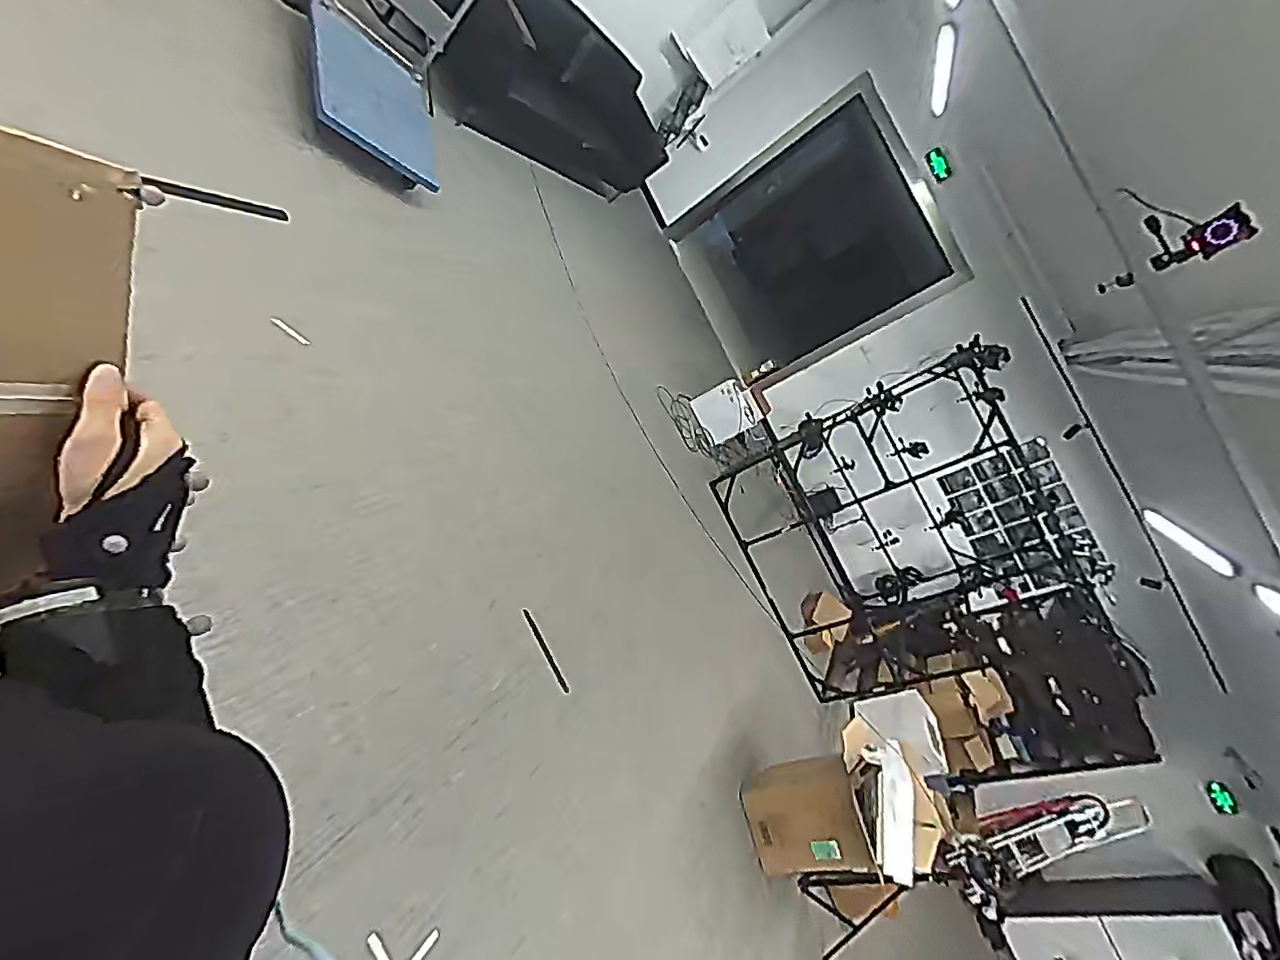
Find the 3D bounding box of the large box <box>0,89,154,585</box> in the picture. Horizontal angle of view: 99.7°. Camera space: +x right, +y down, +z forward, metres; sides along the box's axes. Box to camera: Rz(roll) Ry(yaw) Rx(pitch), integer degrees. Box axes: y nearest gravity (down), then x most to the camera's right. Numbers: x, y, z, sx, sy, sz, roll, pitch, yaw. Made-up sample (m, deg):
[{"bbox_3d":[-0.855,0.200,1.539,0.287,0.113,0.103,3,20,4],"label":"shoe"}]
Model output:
[{"bbox_3d":[-0.571,-0.107,0.261,0.320,0.320,0.408,25,16,19],"label":"large box"}]
